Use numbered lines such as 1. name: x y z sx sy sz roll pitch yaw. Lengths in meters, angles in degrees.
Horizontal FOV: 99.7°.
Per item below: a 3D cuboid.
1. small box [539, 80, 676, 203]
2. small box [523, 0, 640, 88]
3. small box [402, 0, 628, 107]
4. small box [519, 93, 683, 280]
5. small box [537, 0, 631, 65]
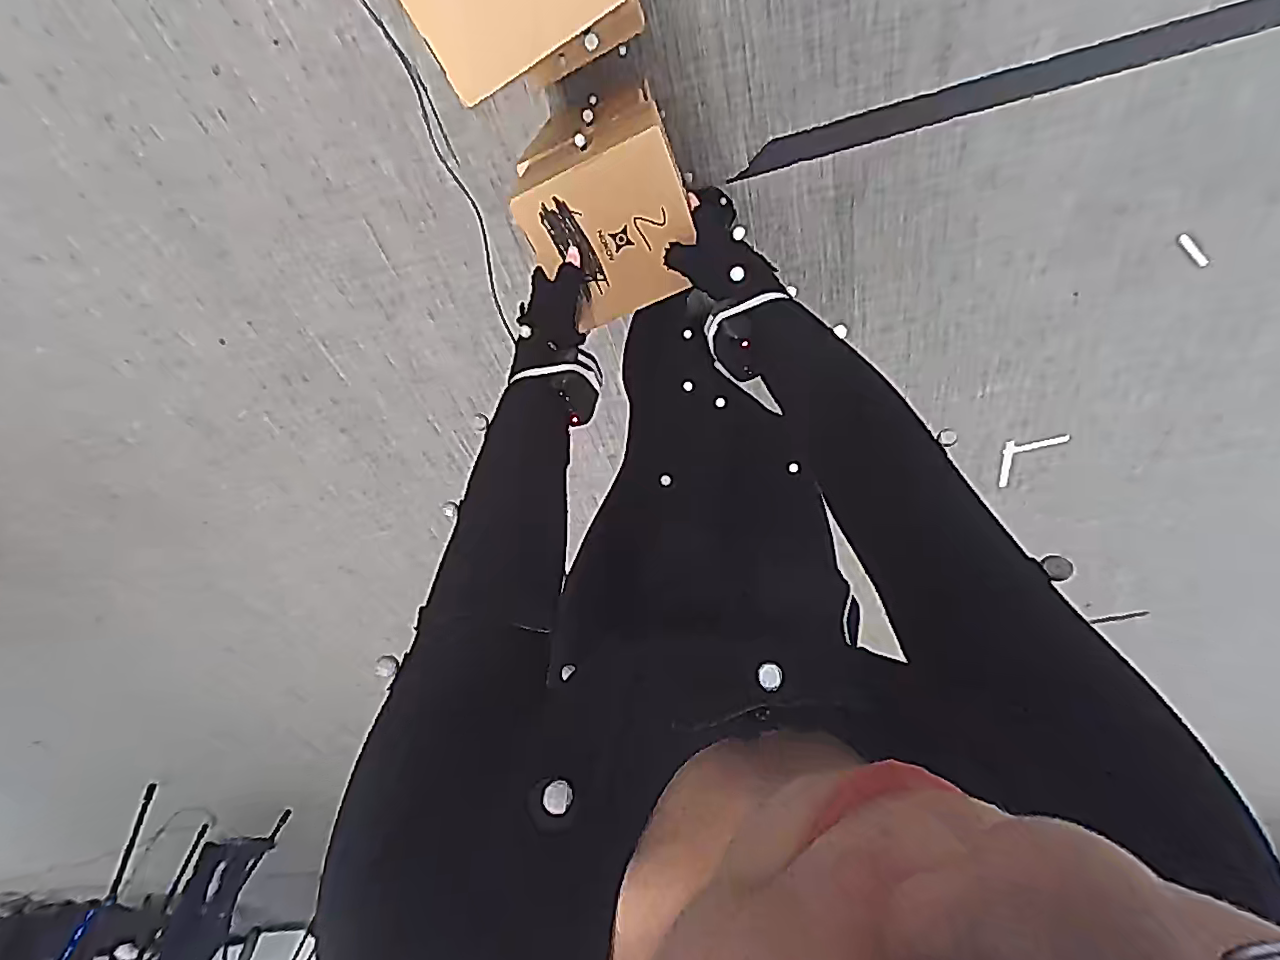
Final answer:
1. small box: -0.049 -0.535 0.898 0.179 0.176 0.168 -13 131 12
2. small box: -0.109 -0.688 0.755 0.179 0.176 0.168 -20 130 15
3. small box: -0.125 -0.486 0.494 0.179 0.176 0.168 -21 129 17
4. small box: -0.052 -0.424 0.777 0.179 0.176 0.168 -17 129 13
5. small box: -0.120 -0.594 0.619 0.179 0.176 0.168 -19 130 14
